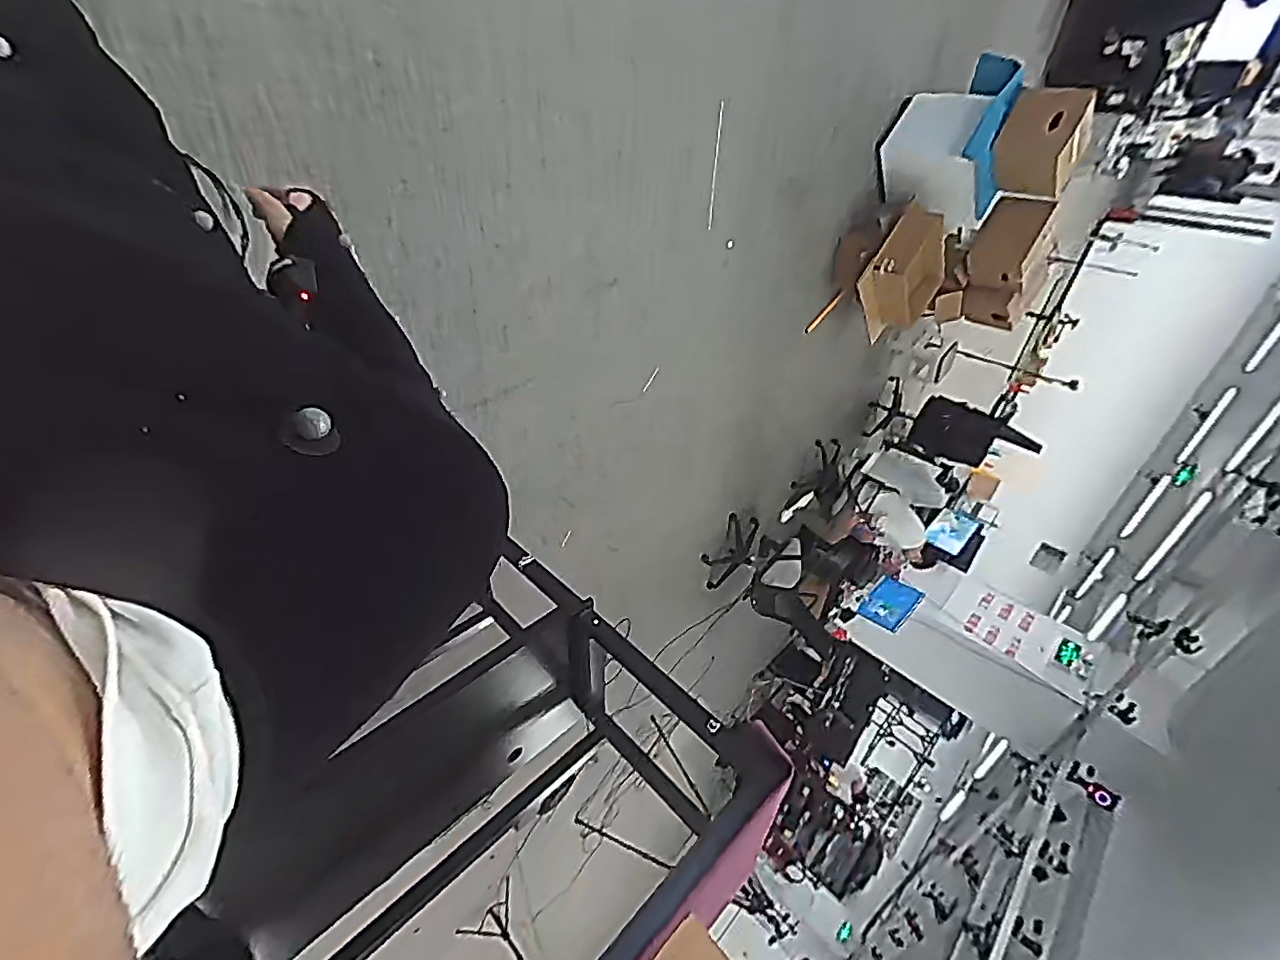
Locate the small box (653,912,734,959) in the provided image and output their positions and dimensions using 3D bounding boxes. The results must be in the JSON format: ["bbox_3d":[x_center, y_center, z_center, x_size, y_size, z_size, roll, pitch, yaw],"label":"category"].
[{"bbox_3d":[0.101,1.007,1.056,0.179,0.176,0.168,-26,135,-37],"label":"small box"}]
